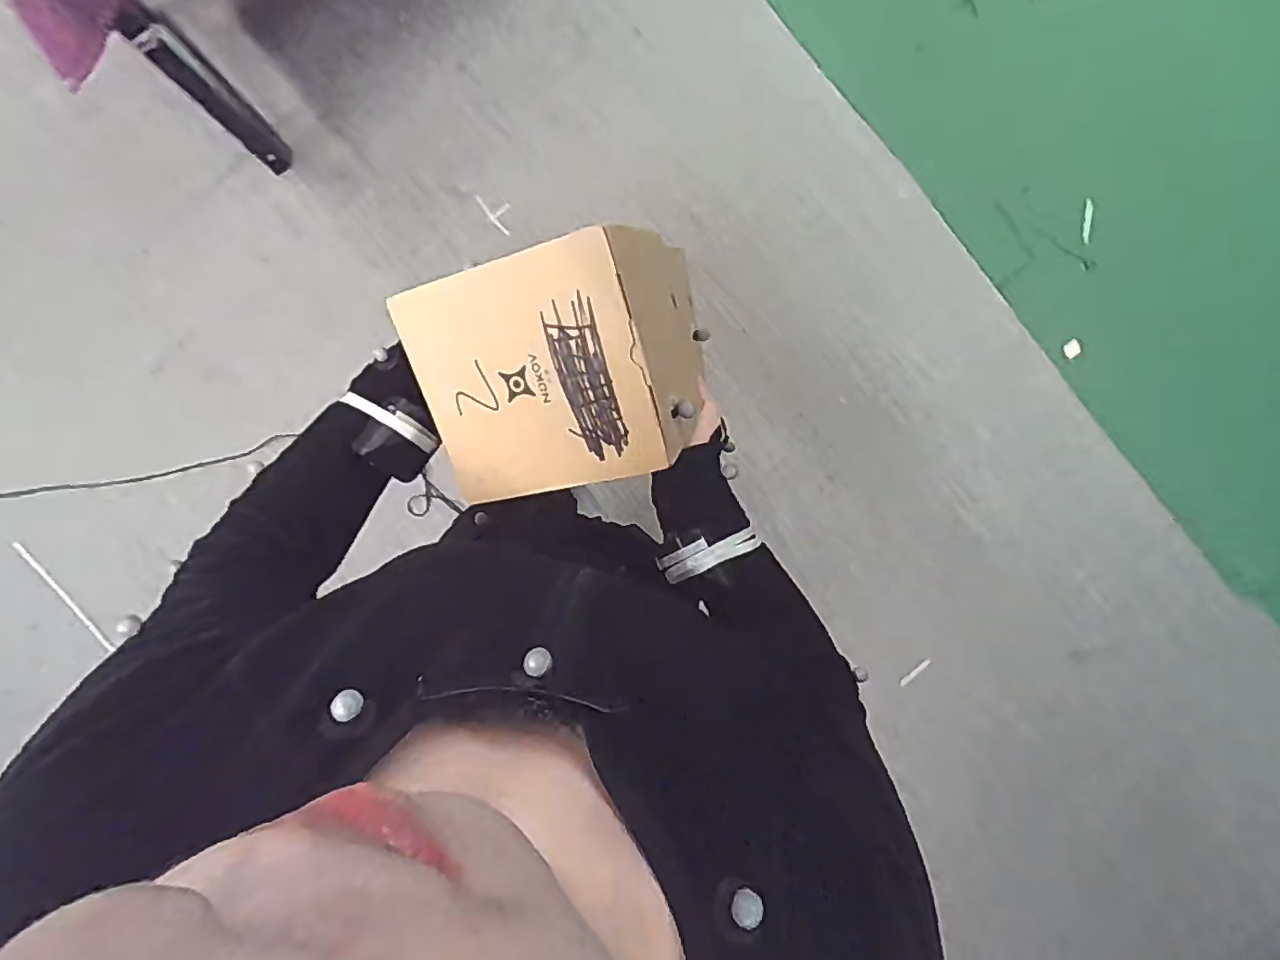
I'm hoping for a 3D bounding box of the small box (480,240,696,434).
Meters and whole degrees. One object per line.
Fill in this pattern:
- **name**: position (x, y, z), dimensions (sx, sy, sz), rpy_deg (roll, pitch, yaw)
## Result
- **small box**: position (-0.044, -0.162, 0.610), dimensions (0.179, 0.176, 0.168), rpy_deg (-7, 110, 16)
